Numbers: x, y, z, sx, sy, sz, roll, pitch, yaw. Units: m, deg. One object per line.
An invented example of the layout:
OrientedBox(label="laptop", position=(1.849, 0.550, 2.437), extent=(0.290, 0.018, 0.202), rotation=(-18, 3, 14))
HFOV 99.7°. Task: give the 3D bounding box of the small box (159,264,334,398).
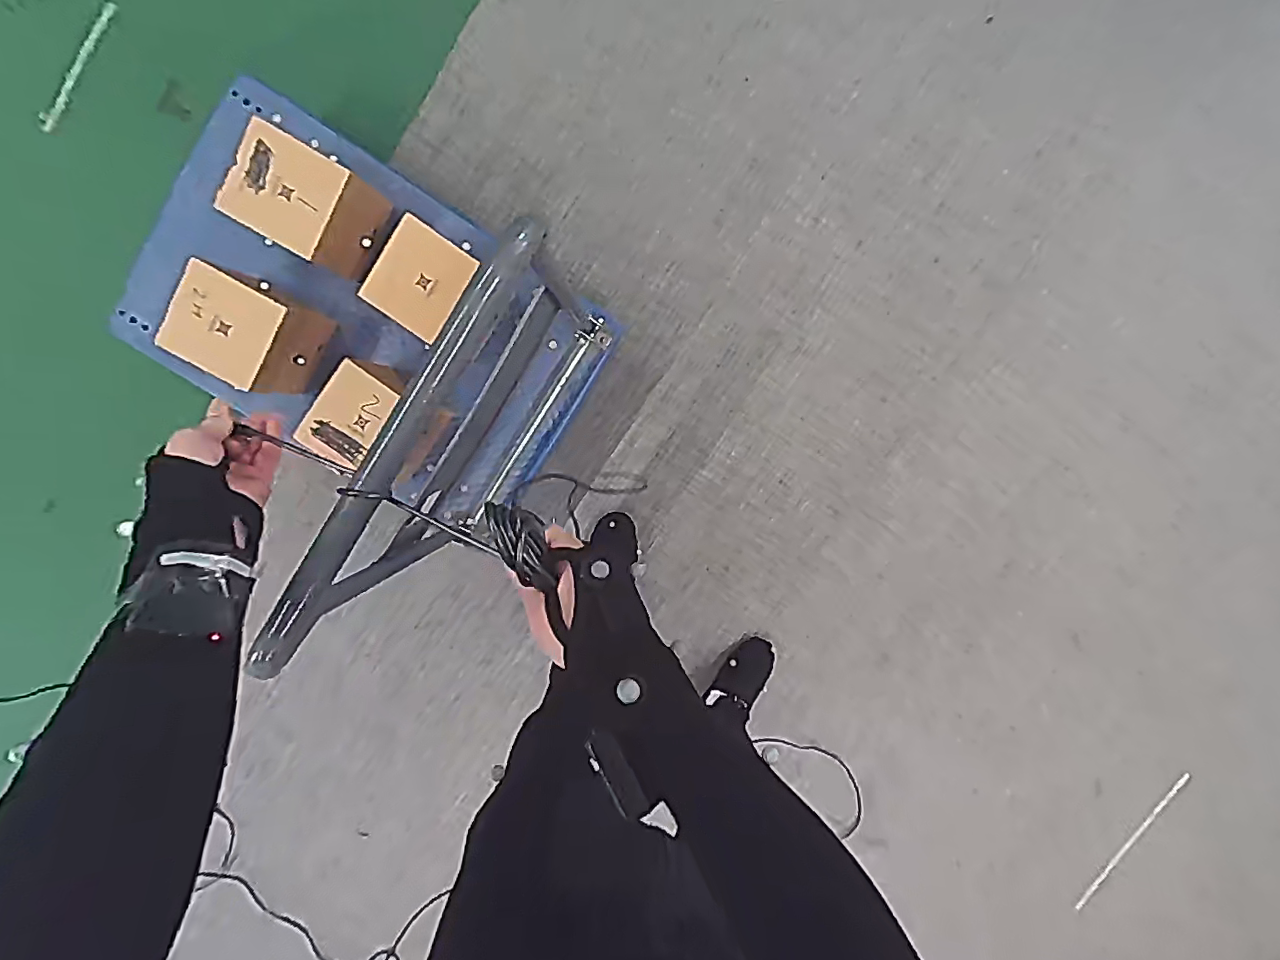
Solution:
OrientedBox(label="small box", position=(-0.714, -0.267, 1.005), extent=(0.179, 0.176, 0.168), rotation=(29, 96, -5))

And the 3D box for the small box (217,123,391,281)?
OrientedBox(label="small box", position=(-0.592, -0.485, 0.976), extent=(0.179, 0.176, 0.168), rotation=(29, 97, -6))

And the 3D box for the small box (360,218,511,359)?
OrientedBox(label="small box", position=(-0.366, -0.339, 1.002), extent=(0.179, 0.176, 0.168), rotation=(34, 96, -6))
